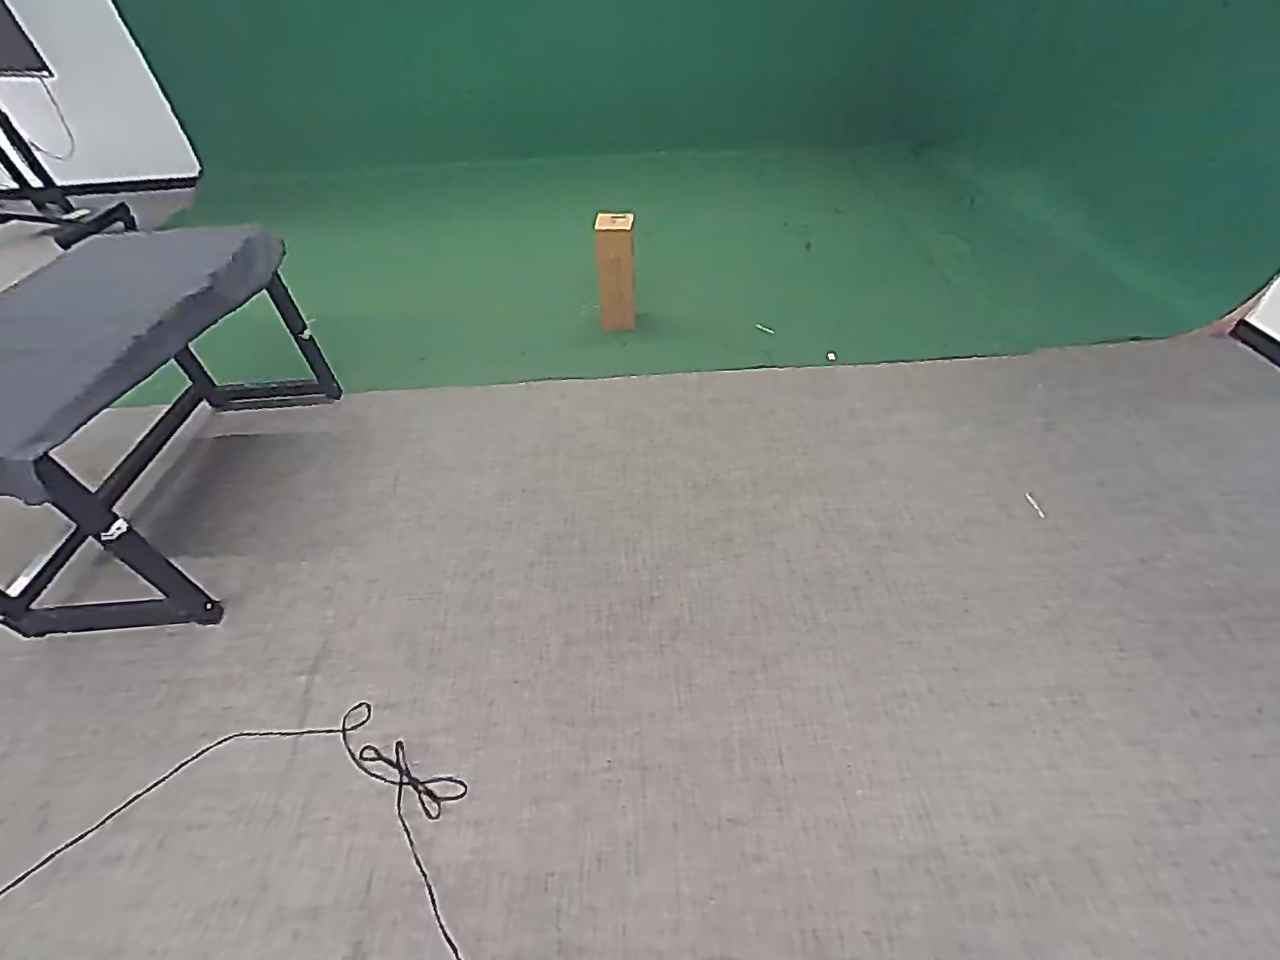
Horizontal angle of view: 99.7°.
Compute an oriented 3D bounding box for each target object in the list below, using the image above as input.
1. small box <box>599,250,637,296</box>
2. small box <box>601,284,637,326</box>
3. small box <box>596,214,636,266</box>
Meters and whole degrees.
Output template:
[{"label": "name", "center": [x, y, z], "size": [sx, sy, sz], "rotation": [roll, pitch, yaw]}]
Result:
[{"label": "small box", "center": [-0.102, -1.000, 2.628], "size": [0.168, 0.176, 0.179], "rotation": [1, 47, 3]}, {"label": "small box", "center": [-0.101, -0.893, 2.725], "size": [0.168, 0.176, 0.179], "rotation": [3, 46, 3]}, {"label": "small box", "center": [-0.109, -1.114, 2.508], "size": [0.168, 0.176, 0.179], "rotation": [1, 47, 4]}]
